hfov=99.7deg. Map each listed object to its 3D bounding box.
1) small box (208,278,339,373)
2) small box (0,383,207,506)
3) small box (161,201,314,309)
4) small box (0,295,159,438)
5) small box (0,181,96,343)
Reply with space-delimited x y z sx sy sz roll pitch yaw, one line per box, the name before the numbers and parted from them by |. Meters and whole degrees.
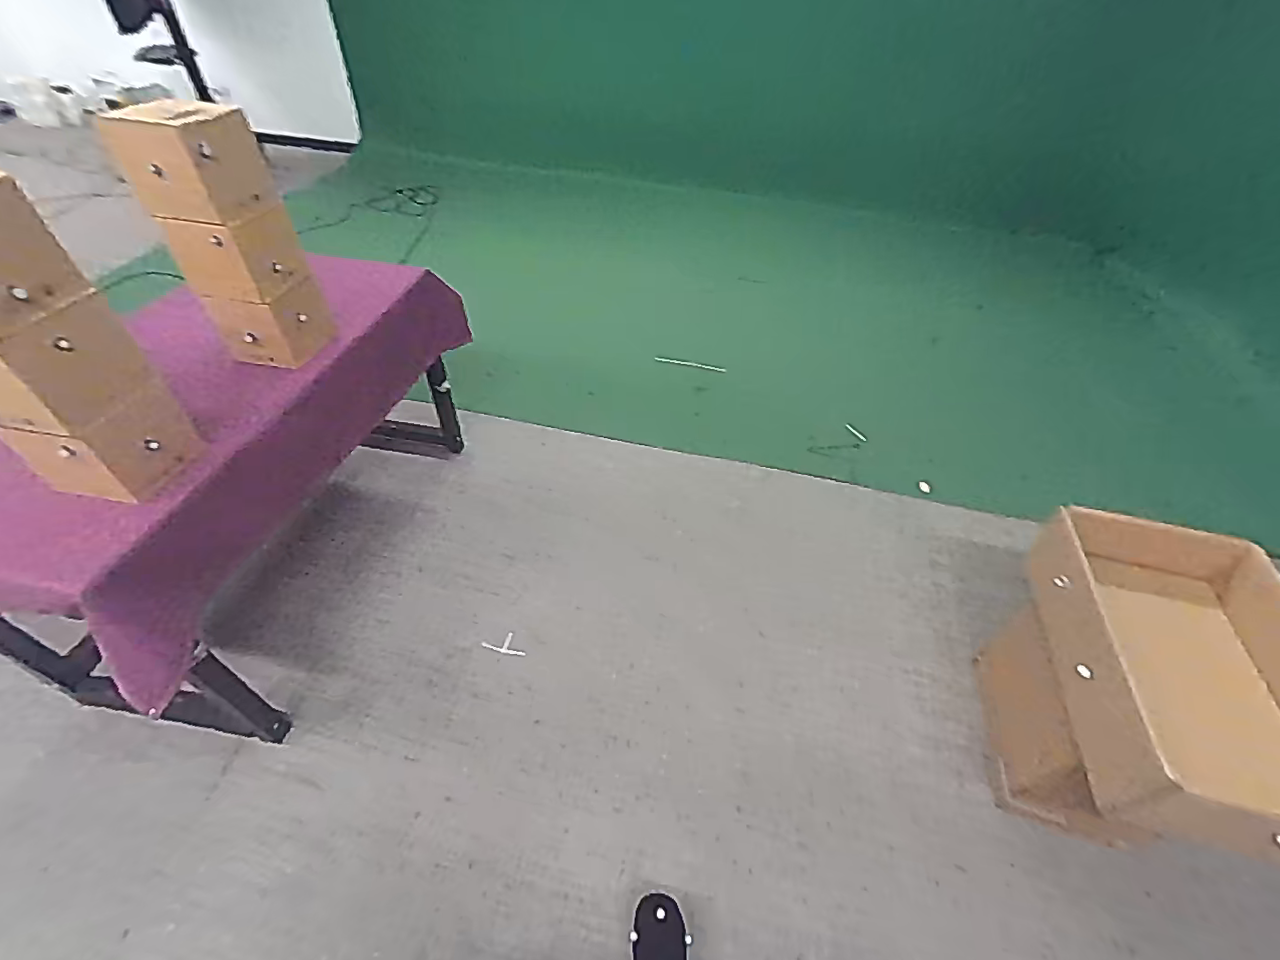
small box | -0.865 -0.377 1.300 0.168 0.176 0.179 8 46 5
small box | -0.955 -0.072 0.985 0.179 0.176 0.168 9 44 6
small box | -0.867 -0.492 1.184 0.179 0.176 0.168 10 45 6
small box | -0.948 -0.188 0.869 0.168 0.176 0.179 9 44 6
small box | -0.952 -0.306 0.755 0.179 0.176 0.168 8 45 4
